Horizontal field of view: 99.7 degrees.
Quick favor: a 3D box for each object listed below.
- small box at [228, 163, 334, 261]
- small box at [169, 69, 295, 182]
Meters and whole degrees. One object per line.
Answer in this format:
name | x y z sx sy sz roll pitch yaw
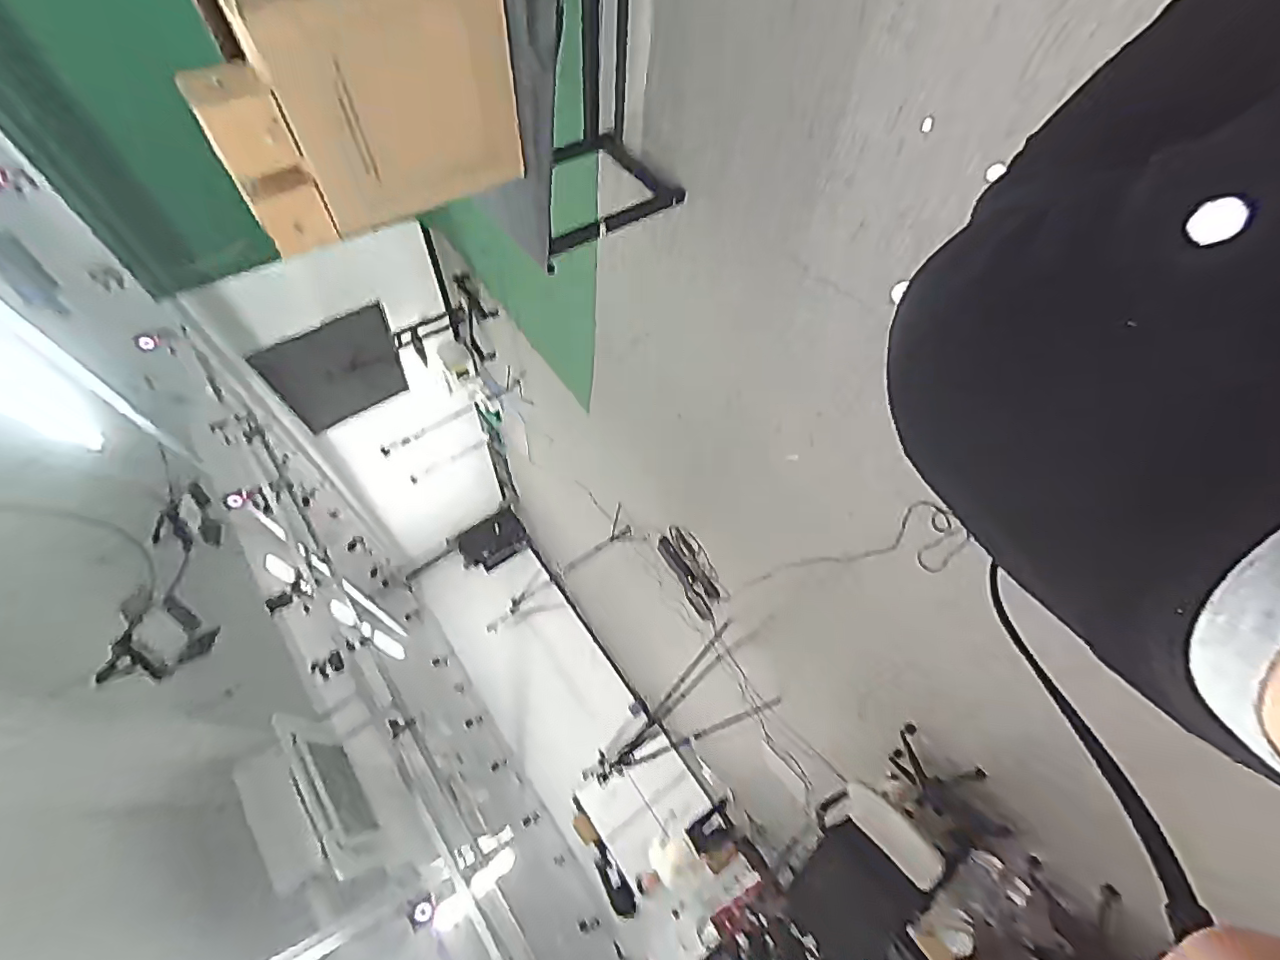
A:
small box | -1.000 -0.760 1.518 0.168 0.176 0.179 49 158 21
small box | -0.993 -0.877 1.331 0.179 0.176 0.168 48 157 21
